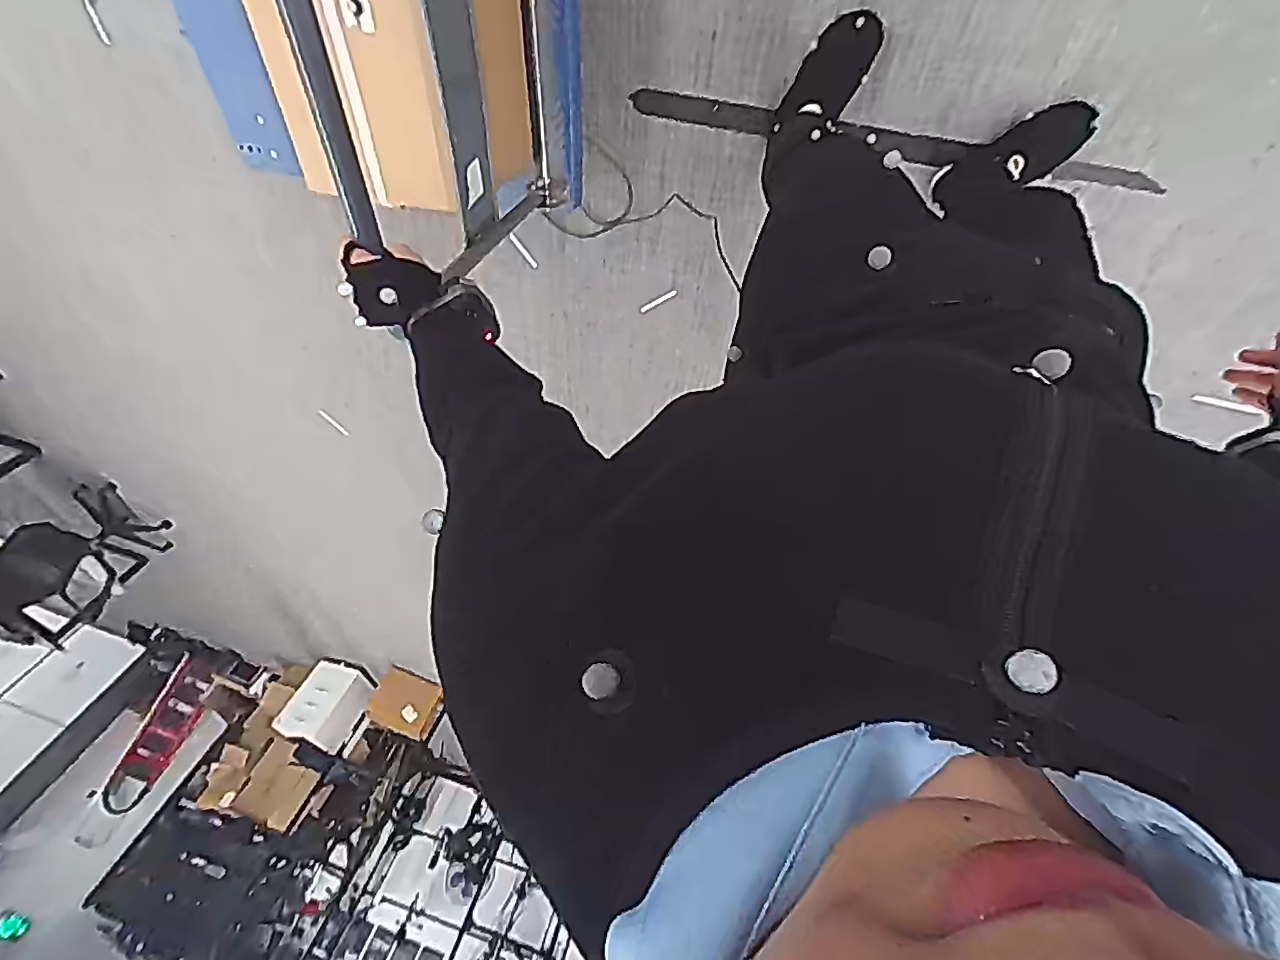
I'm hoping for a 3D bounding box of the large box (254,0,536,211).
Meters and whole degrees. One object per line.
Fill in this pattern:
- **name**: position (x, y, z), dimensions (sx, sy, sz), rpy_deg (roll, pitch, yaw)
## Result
- **large box**: position (-0.396, -0.737, 0.937), dimensions (0.320, 0.320, 0.408), rpy_deg (12, 134, 8)
